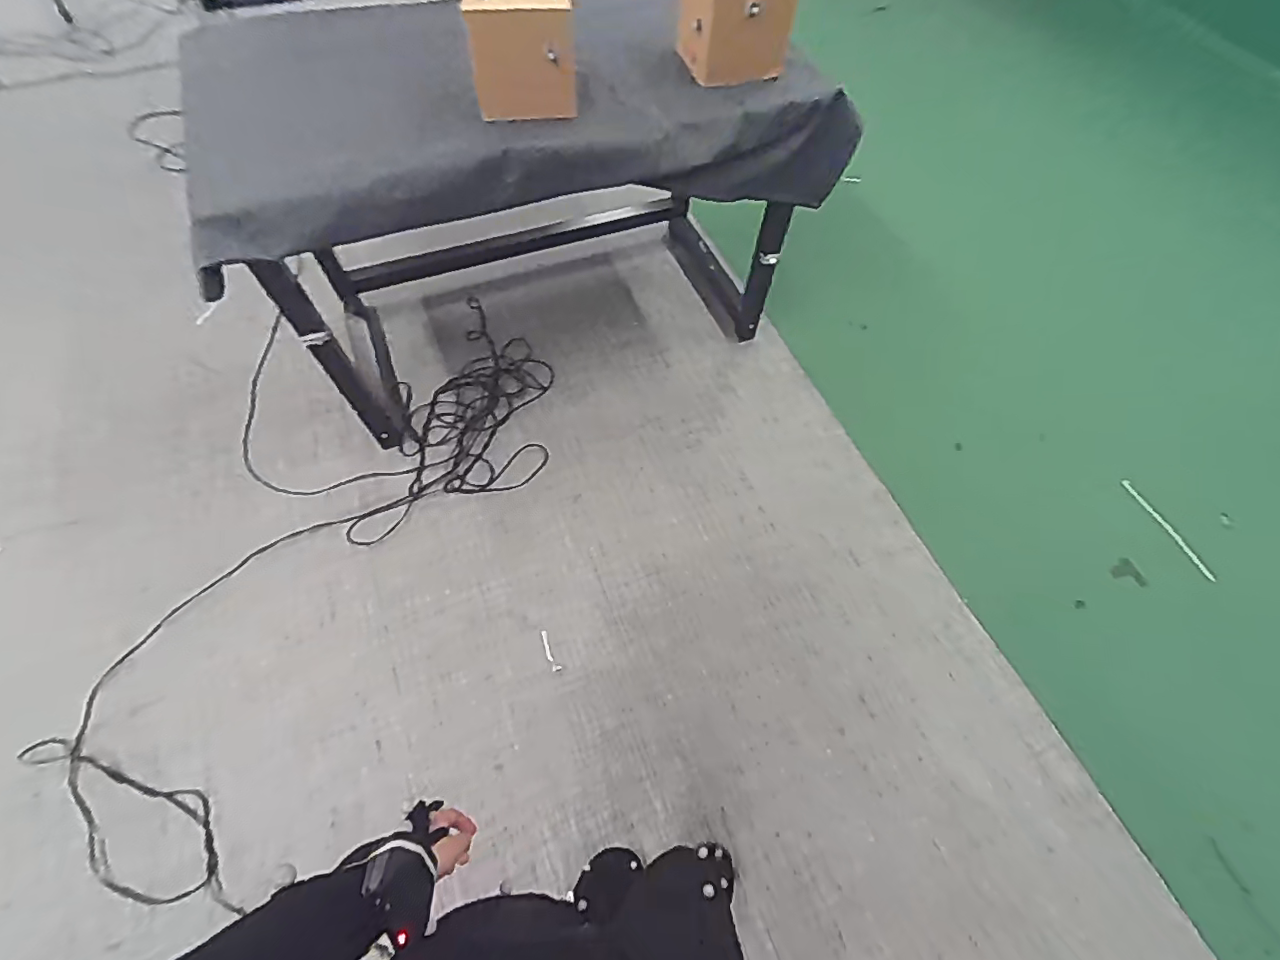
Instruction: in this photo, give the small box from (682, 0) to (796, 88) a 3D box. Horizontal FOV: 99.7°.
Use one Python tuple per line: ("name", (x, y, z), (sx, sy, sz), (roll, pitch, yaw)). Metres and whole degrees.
("small box", (0.189, -0.905, 1.064), (0.179, 0.176, 0.168), (-14, 64, -10))
